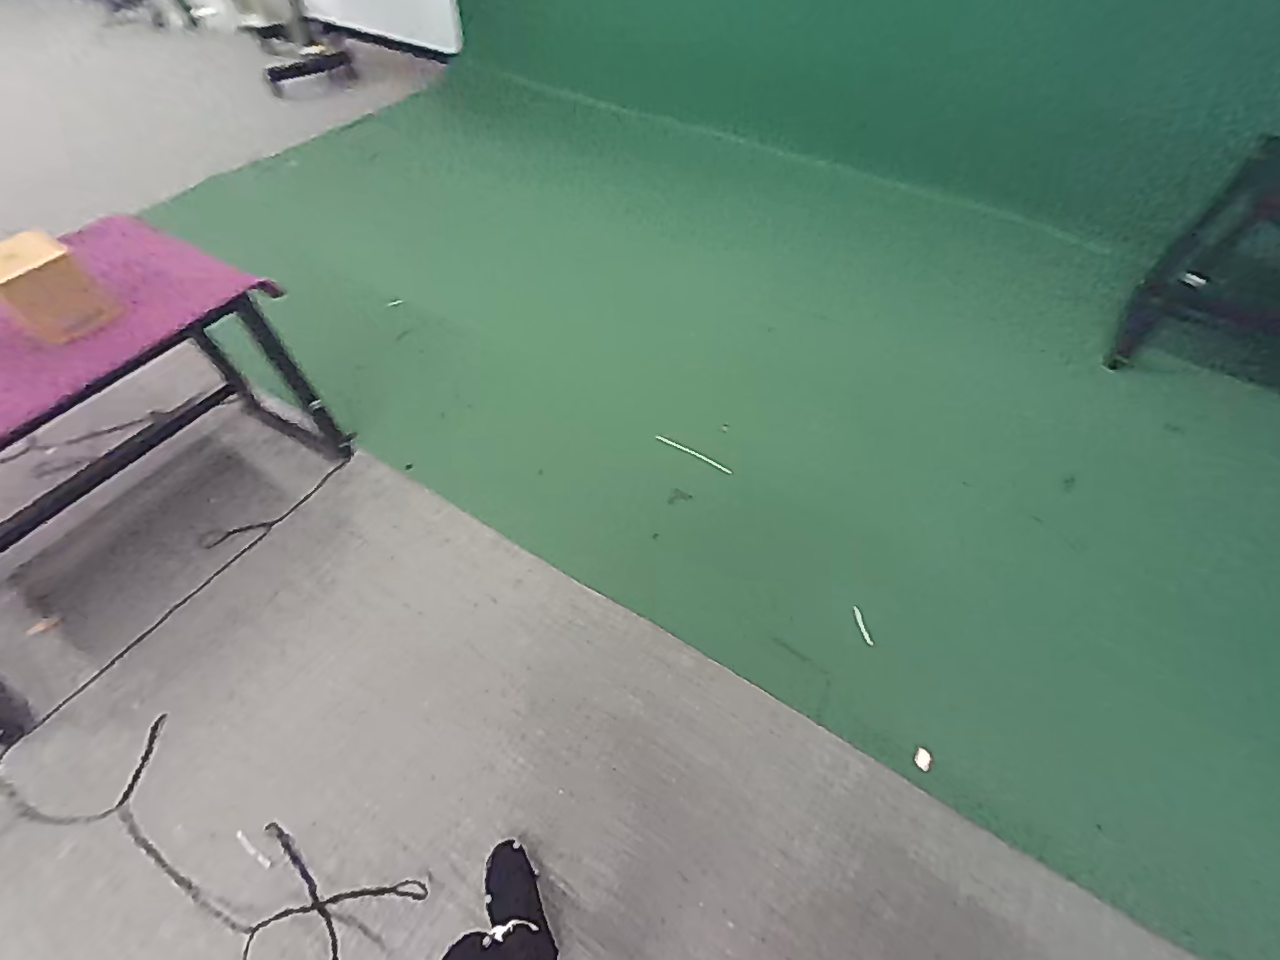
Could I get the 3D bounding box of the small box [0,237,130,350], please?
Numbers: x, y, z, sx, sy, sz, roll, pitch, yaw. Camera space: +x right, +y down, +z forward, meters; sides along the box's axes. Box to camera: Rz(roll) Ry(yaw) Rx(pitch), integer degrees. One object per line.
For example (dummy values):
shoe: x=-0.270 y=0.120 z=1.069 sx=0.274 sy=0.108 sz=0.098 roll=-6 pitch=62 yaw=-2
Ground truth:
small box: x=-1.377 y=-0.434 z=1.269 sx=0.179 sy=0.176 sz=0.168 roll=28 pitch=60 yaw=19
